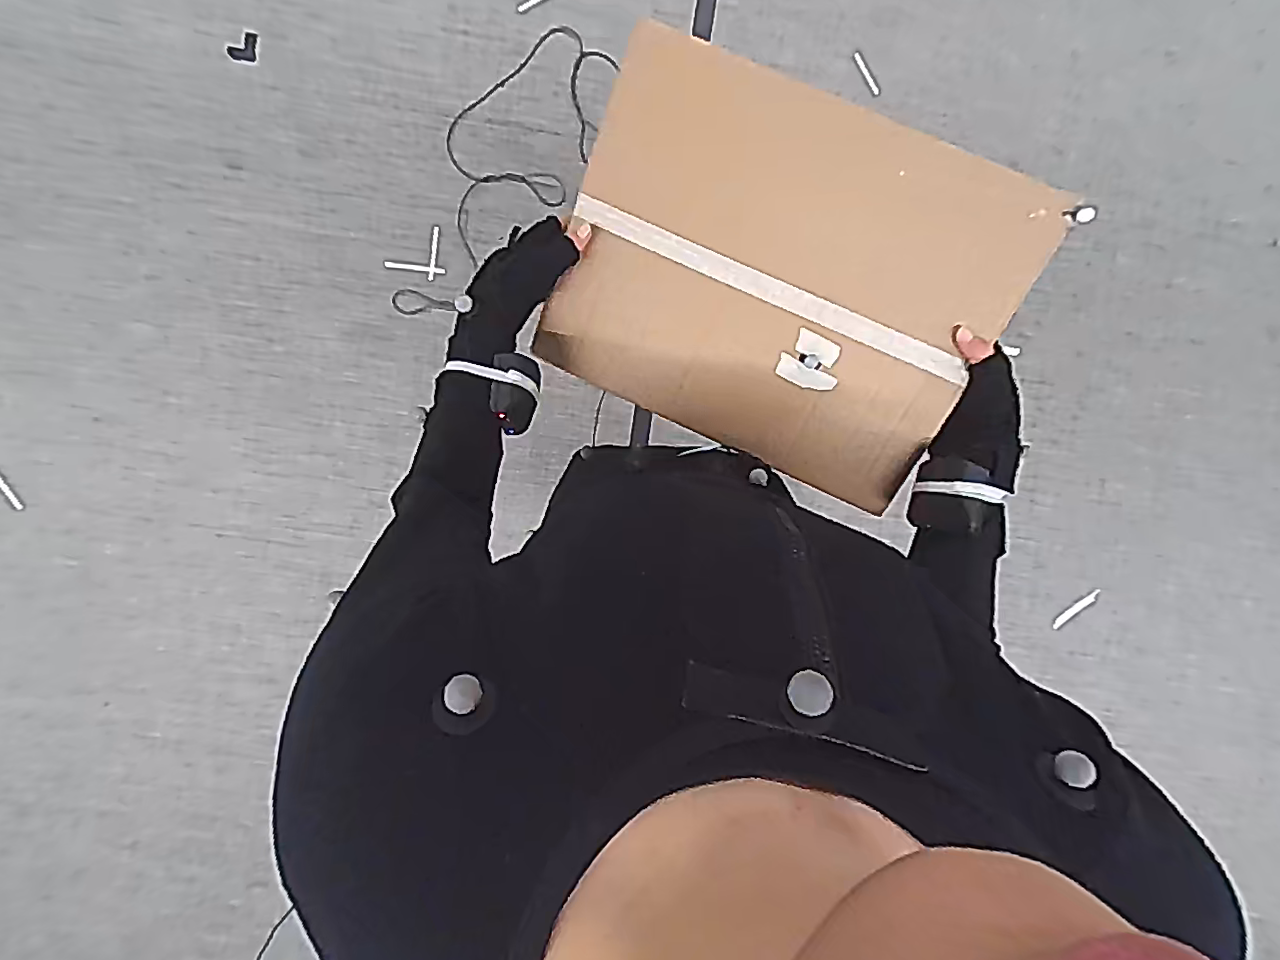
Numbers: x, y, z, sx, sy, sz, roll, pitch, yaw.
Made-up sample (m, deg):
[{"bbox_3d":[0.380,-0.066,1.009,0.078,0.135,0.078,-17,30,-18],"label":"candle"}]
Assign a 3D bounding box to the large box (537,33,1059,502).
[{"bbox_3d":[0.146,-0.232,0.657,0.408,0.320,0.320,25,113,1],"label":"large box"}]
